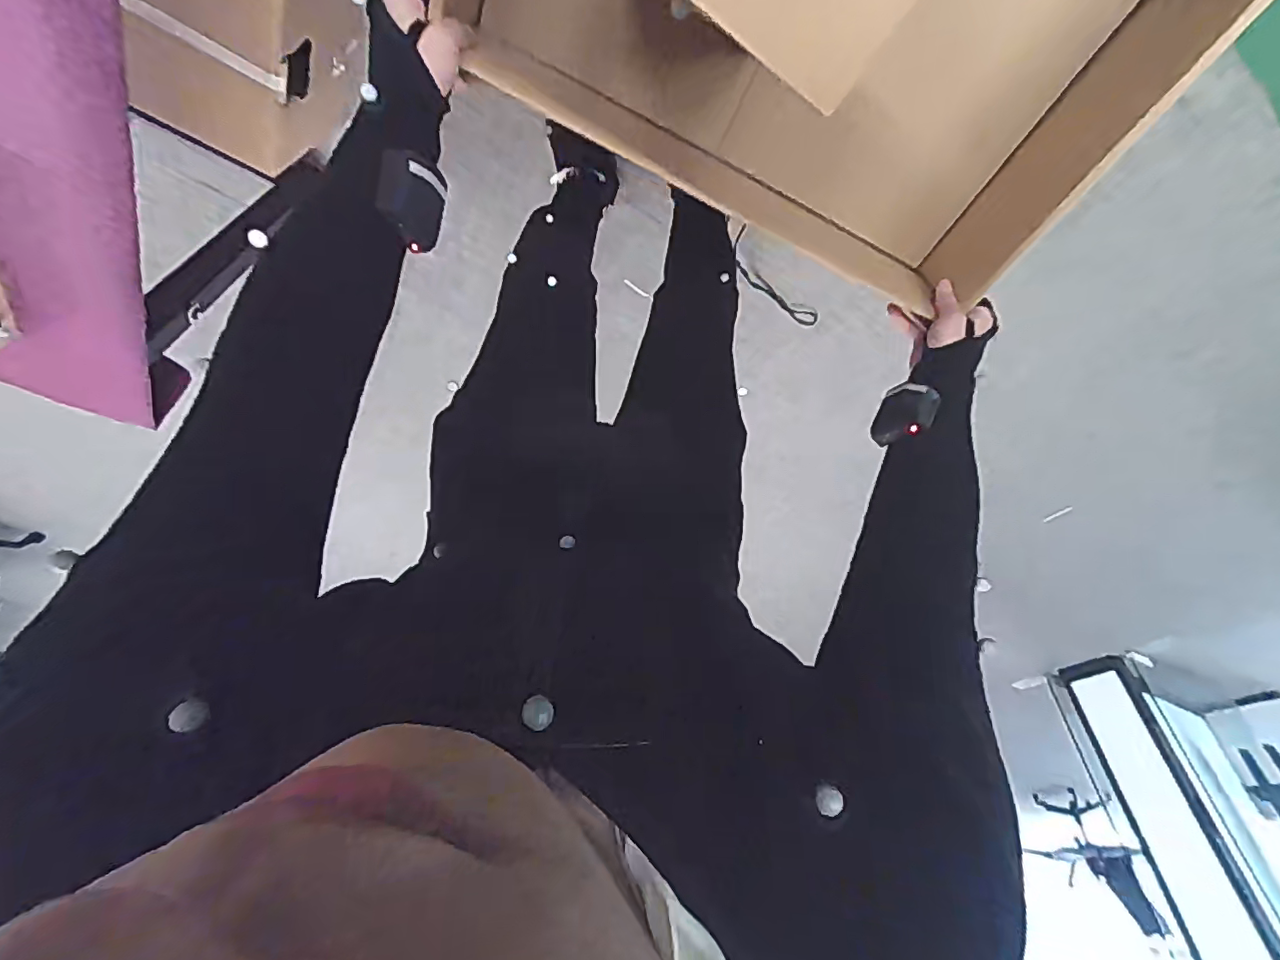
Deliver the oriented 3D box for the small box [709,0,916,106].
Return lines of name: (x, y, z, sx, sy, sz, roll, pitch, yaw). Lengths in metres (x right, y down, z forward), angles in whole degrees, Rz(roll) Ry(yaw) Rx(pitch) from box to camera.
small box: (0.100, -0.371, 0.312, 0.168, 0.176, 0.179, 25, 131, -21)

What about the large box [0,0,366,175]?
large box: (-0.701, -0.779, 0.848, 0.408, 0.320, 0.320, 23, 134, -20)

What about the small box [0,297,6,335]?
small box: (-0.785, -0.191, 0.519, 0.179, 0.176, 0.168, 24, 134, -20)
